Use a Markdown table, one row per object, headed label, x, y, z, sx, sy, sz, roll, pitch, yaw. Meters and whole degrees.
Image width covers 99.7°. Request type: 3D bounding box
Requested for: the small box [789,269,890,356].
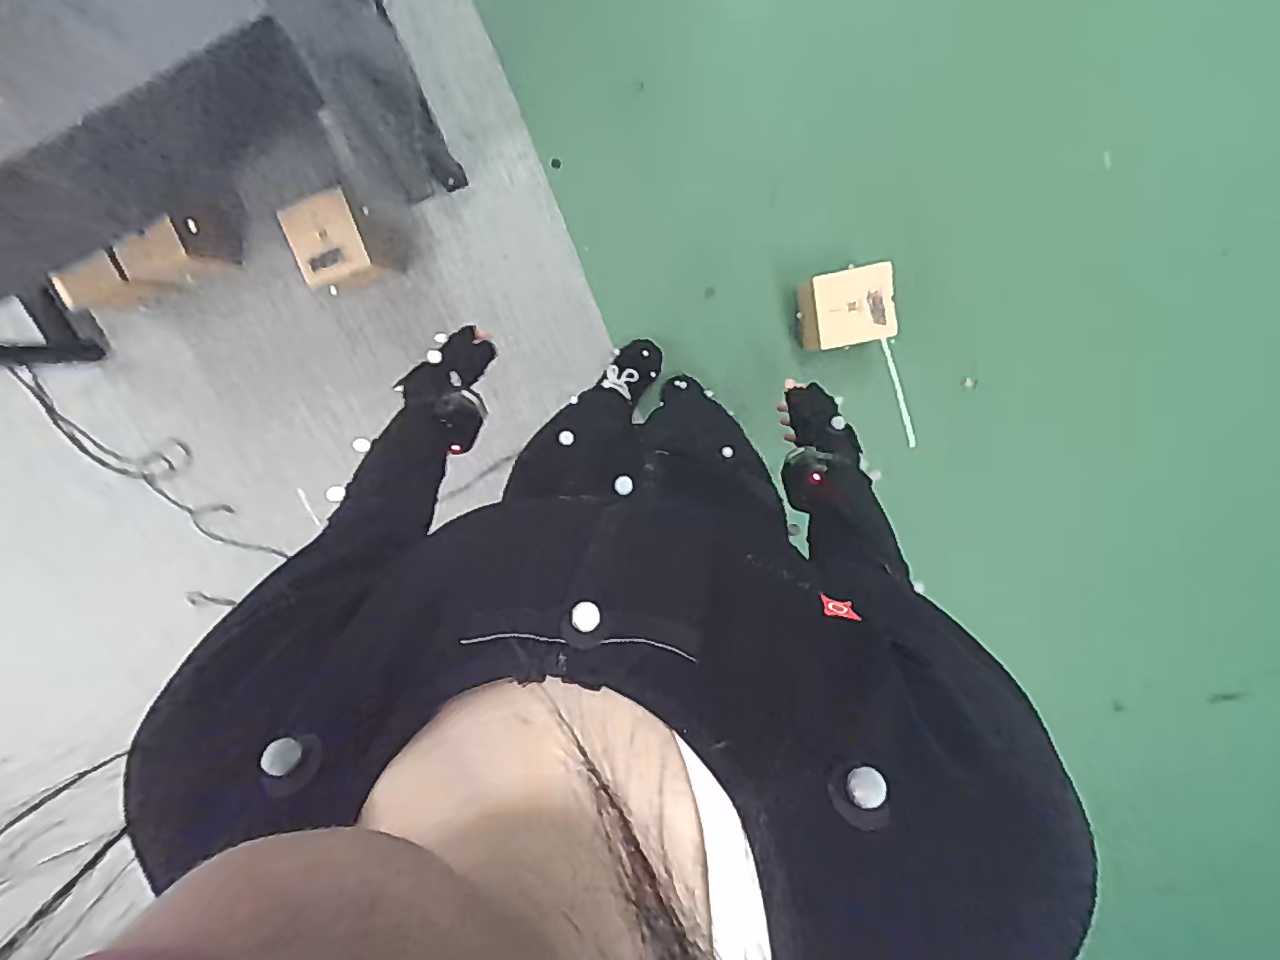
| label | x | y | z | sx | sy | sz | roll | pitch | yaw |
| --- | --- | --- | --- | --- | --- | --- | --- | --- | --- |
| small box | 0.474 | -0.397 | 1.302 | 0.179 | 0.176 | 0.168 | -10 | 102 | 4 |
